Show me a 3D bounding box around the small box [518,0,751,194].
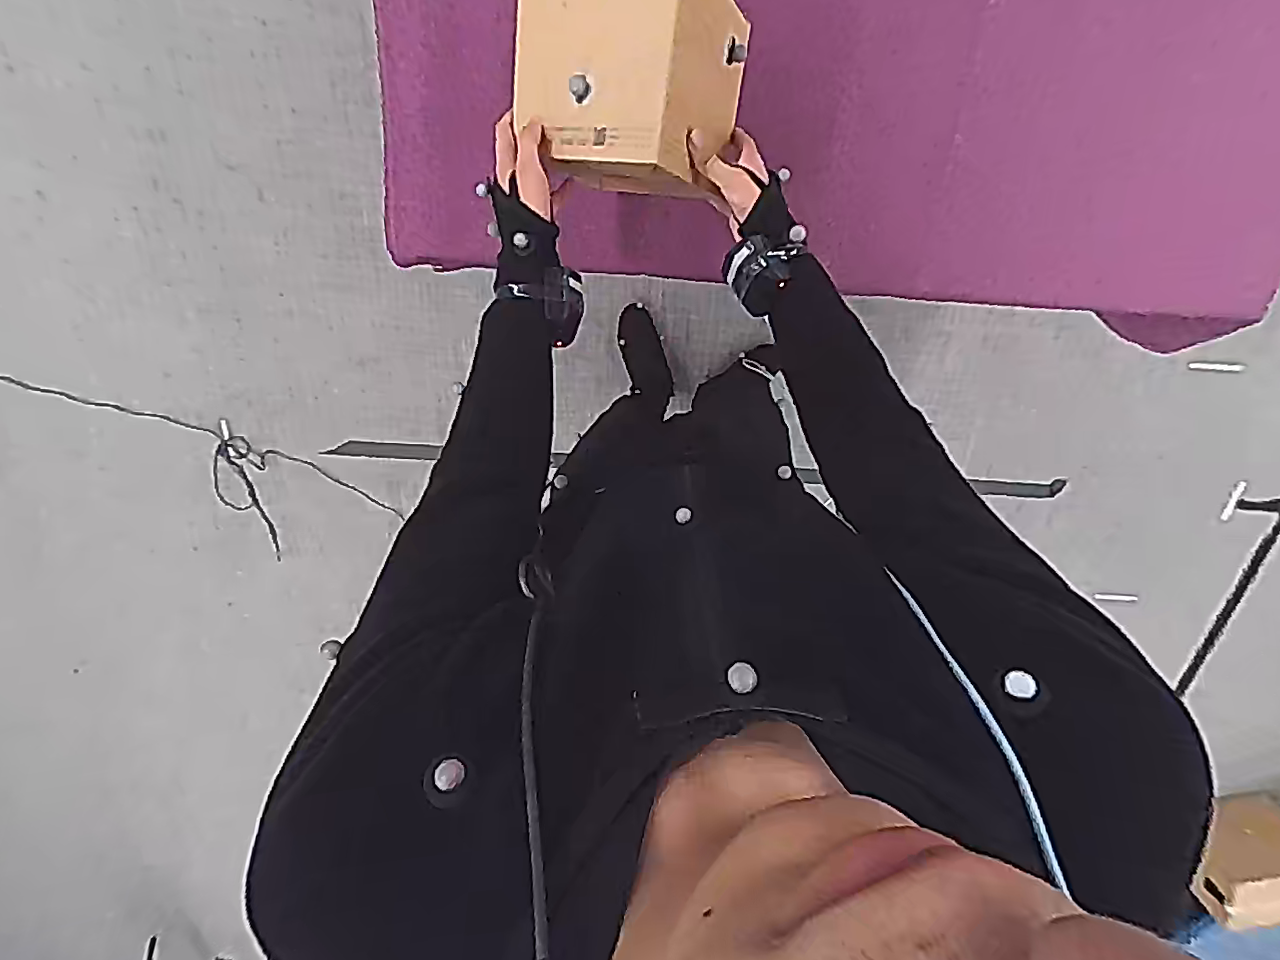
[{"bbox_3d":[-0.008,-0.393,0.544,0.168,0.179,0.176,18,113,26],"label":"small box"}]
